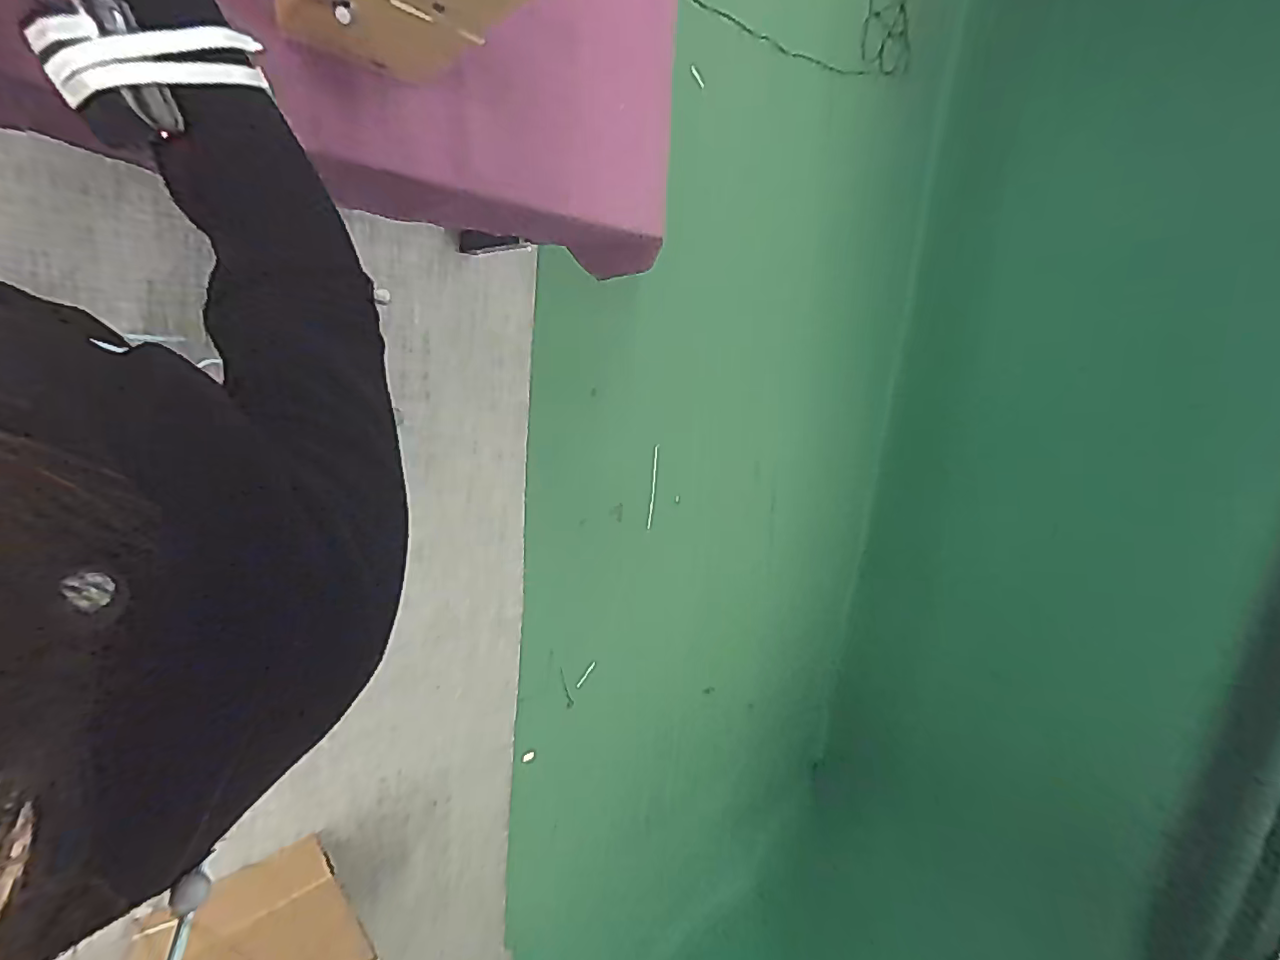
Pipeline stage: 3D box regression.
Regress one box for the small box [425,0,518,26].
[{"bbox_3d":[-0.171,-0.550,0.471,0.168,0.176,0.179,-12,109,-44],"label":"small box"}]
